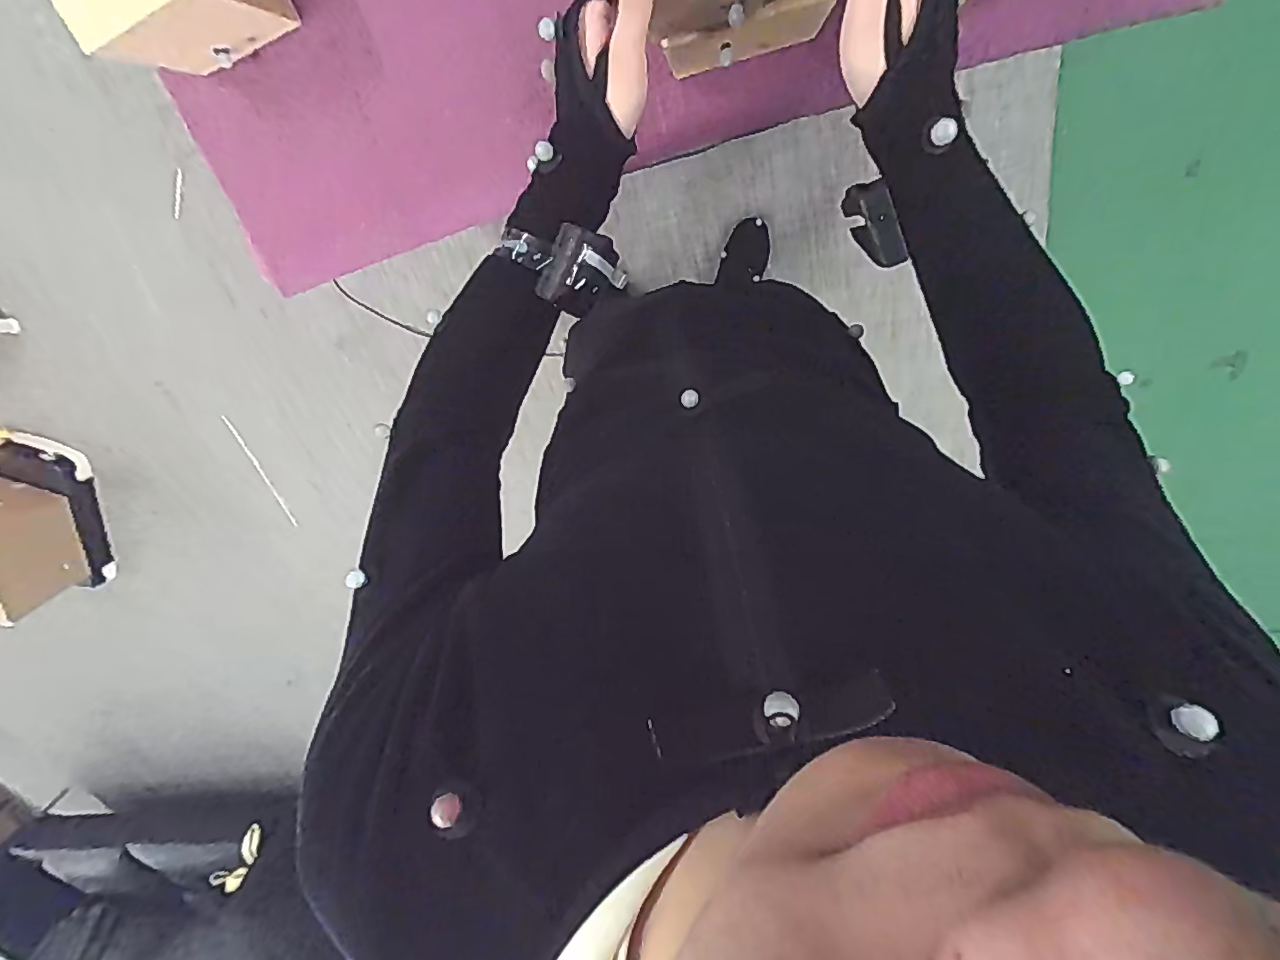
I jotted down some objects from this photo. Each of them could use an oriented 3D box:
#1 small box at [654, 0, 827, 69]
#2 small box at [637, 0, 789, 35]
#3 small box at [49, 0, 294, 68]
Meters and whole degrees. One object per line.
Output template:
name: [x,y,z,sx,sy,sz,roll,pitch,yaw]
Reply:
small box: [0.091,-0.533,0.528,0.168,0.176,0.179,-7,116,13]
small box: [0.057,-0.449,0.369,0.168,0.176,0.179,-6,118,14]
small box: [-0.539,-0.593,0.592,0.168,0.176,0.179,-12,117,15]
